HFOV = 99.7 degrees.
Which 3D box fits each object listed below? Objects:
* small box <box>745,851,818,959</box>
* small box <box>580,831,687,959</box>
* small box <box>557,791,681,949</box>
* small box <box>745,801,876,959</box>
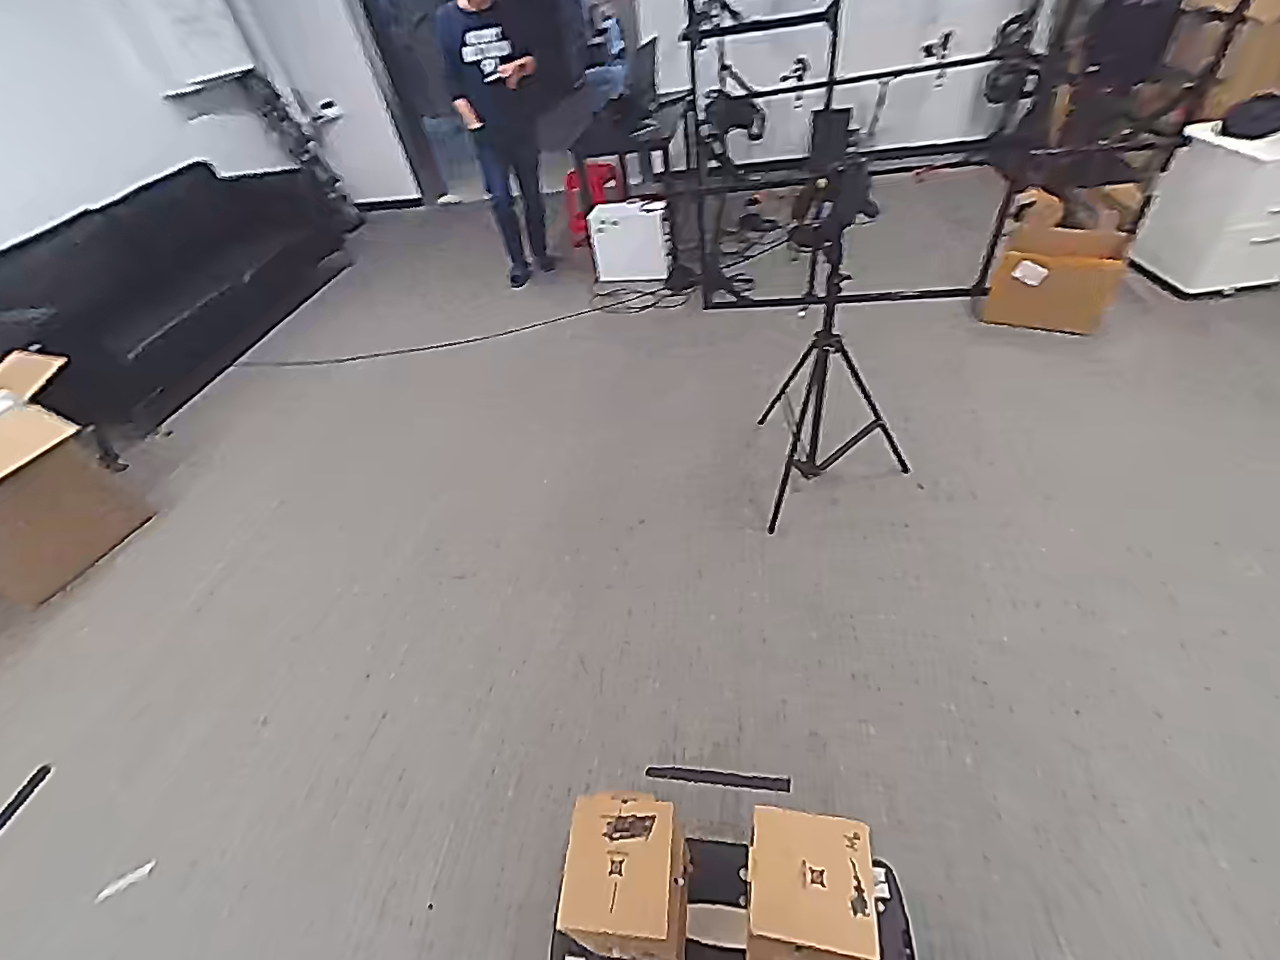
[{"bbox_3d":[0.277,0.761,0.949,0.179,0.176,0.168,0,45,14],"label":"small box"},{"bbox_3d":[0.000,0.760,0.999,0.168,0.176,0.179,0,45,11],"label":"small box"},{"bbox_3d":[-0.023,0.640,0.889,0.168,0.176,0.179,-1,45,10],"label":"small box"},{"bbox_3d":[0.260,0.632,0.847,0.179,0.176,0.168,2,45,14],"label":"small box"}]
